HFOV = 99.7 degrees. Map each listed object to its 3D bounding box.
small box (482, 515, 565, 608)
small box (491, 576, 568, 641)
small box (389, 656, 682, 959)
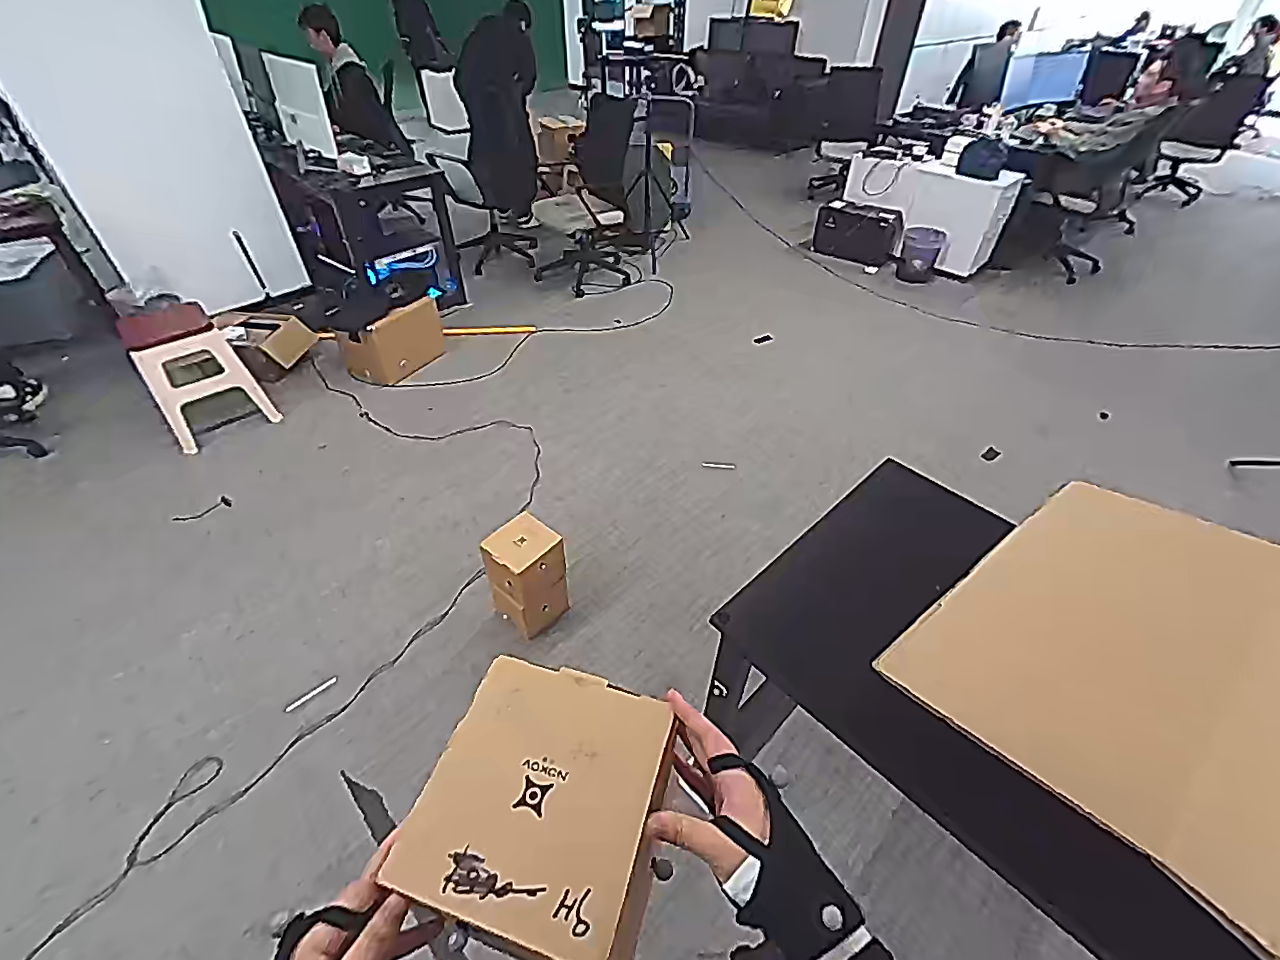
[{"bbox_3d":[-0.335,0.243,1.596,0.168,0.176,0.179,30,49,26],"label":"small box"},{"bbox_3d":[-0.340,0.366,1.703,0.168,0.176,0.179,32,52,29],"label":"small box"},{"bbox_3d":[-0.066,0.286,0.456,0.168,0.176,0.179,10,43,15],"label":"small box"}]
